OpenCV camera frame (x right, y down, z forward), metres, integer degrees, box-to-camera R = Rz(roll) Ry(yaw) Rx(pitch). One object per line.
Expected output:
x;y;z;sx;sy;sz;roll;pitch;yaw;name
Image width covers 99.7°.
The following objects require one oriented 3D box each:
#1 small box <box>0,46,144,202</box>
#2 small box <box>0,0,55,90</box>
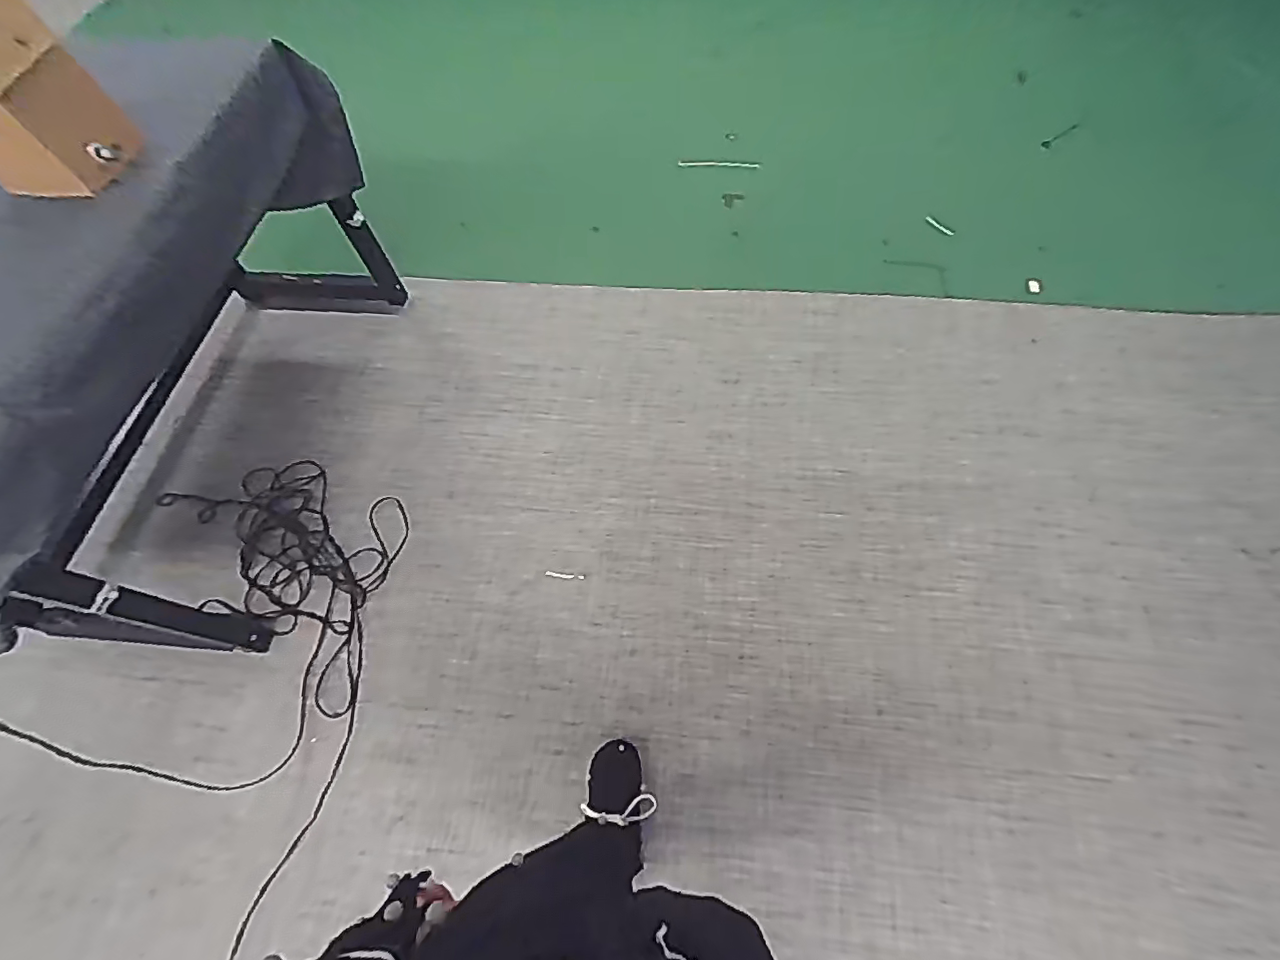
-1.025;-0.600;0.919;0.179;0.176;0.168;5;64;5;small box
-1.026;-0.669;0.772;0.179;0.176;0.168;3;64;6;small box
